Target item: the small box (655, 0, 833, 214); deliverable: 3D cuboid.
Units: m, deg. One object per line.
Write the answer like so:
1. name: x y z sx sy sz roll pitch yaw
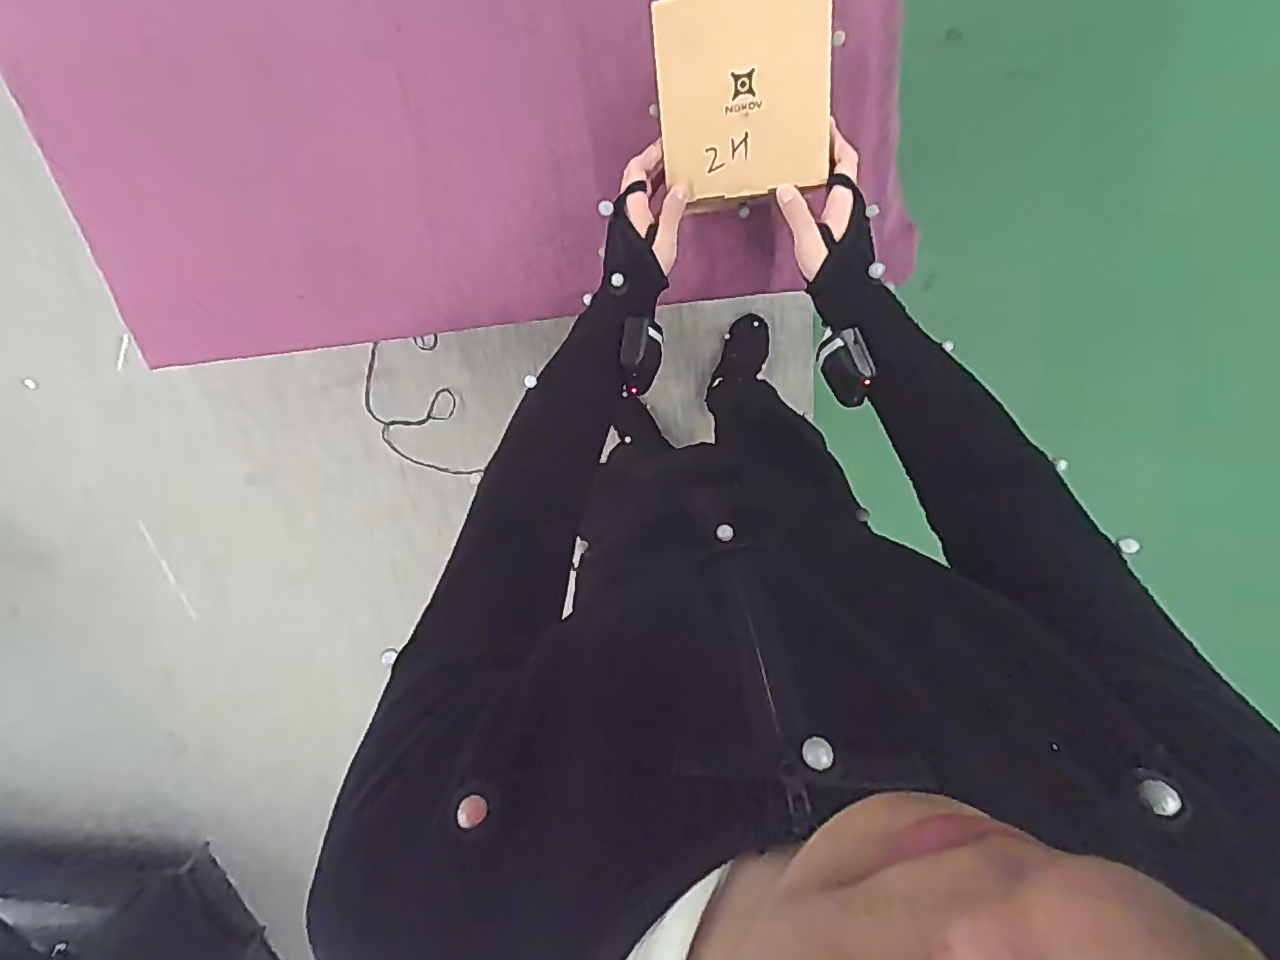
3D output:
1. small box: 0.114 -0.404 0.599 0.168 0.176 0.179 -1 113 12
